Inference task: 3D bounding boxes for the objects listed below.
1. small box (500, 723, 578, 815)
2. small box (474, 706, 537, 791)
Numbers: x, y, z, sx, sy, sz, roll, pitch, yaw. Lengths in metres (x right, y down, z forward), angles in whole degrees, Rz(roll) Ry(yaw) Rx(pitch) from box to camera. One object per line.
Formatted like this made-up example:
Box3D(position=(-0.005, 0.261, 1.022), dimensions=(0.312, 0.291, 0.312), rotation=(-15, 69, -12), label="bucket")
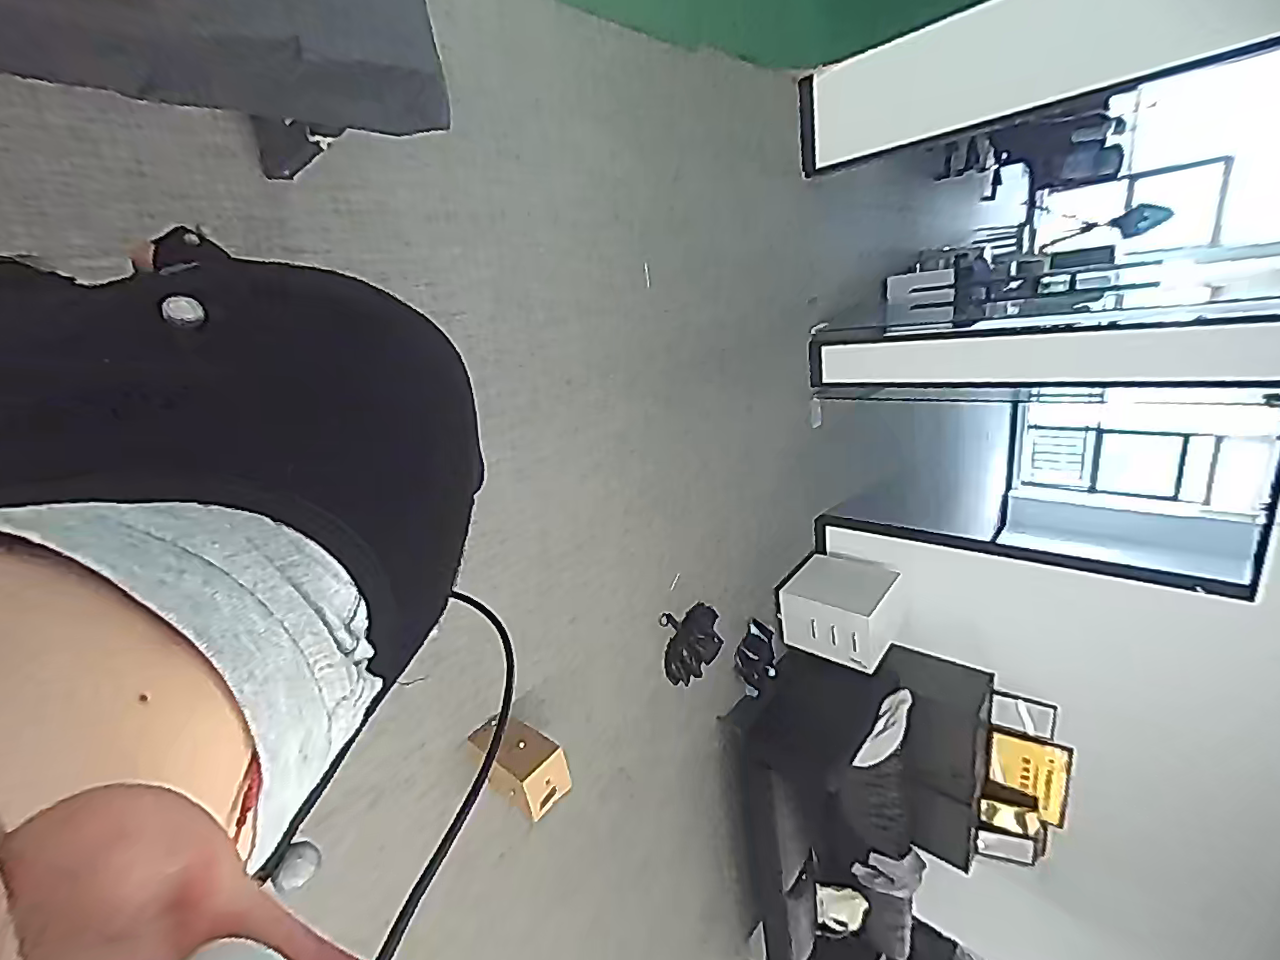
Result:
Box3D(position=(-0.336, 0.951, 1.797), dimensions=(0.168, 0.176, 0.179), rotation=(-30, 118, -42), label="small box")
Box3D(position=(-0.458, 0.940, 1.908), dimensions=(0.168, 0.176, 0.179), rotation=(-30, 117, -42), label="small box")
